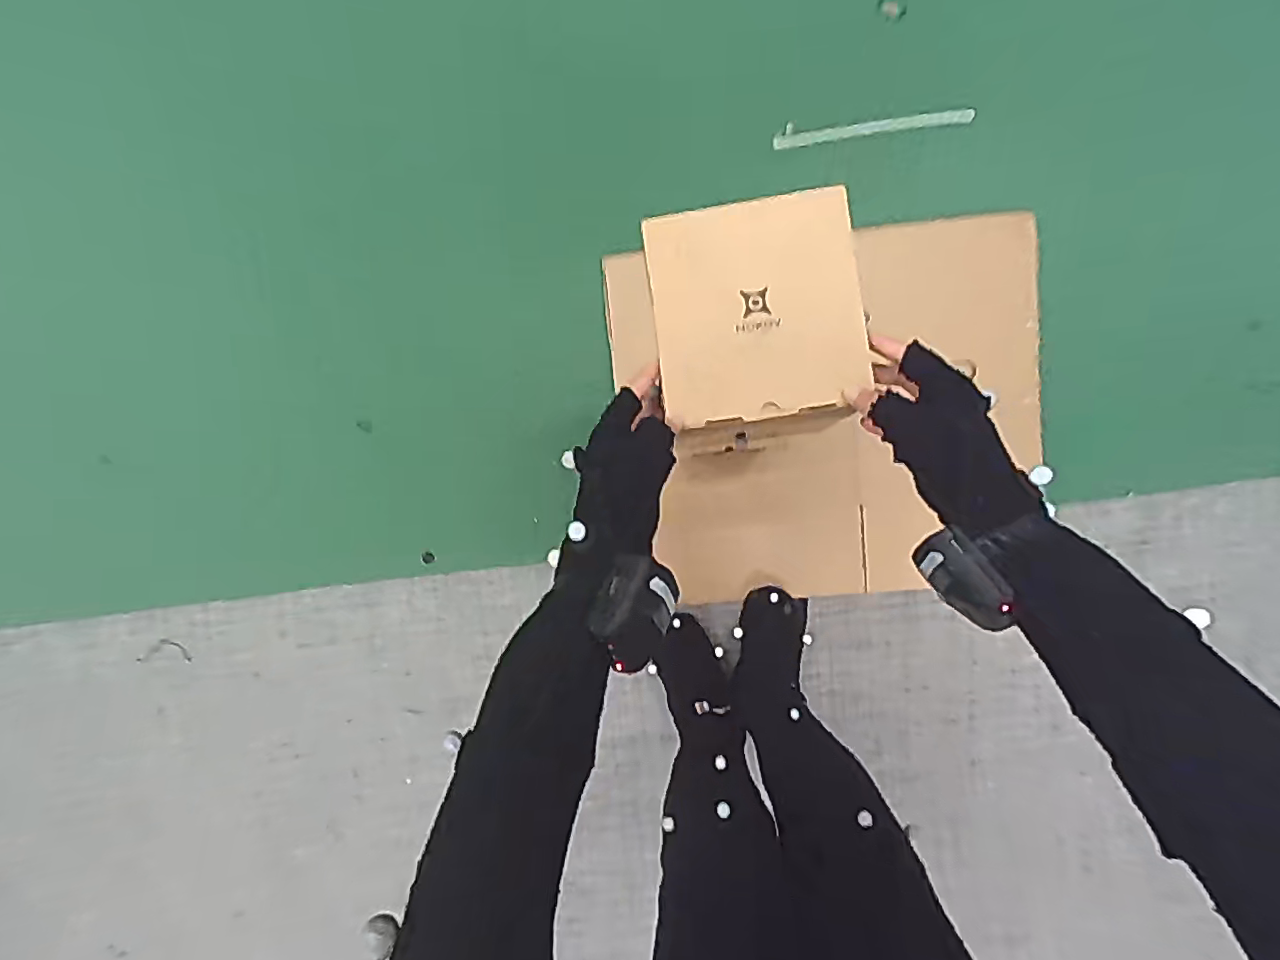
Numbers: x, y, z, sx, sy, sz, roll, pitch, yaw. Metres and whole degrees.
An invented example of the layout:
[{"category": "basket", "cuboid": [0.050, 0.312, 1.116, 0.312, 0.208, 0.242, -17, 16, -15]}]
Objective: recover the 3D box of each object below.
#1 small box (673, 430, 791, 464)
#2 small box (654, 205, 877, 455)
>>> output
[{"category": "small box", "cuboid": [0.132, -0.121, 0.832, 0.168, 0.176, 0.179, -4, 94, 5]}, {"category": "small box", "cuboid": [0.106, -0.126, 0.521, 0.168, 0.176, 0.179, -8, 87, 5]}]
